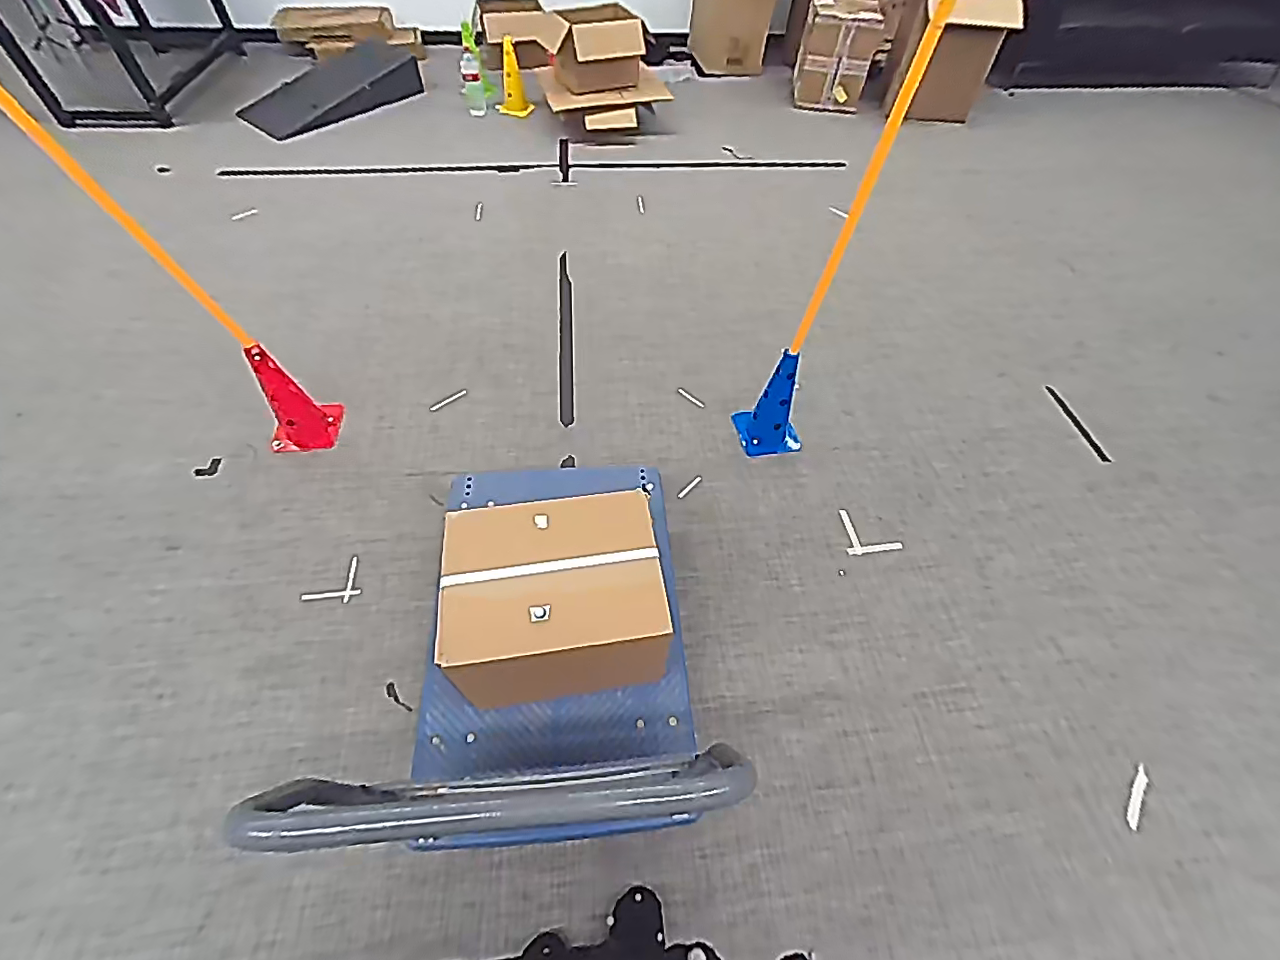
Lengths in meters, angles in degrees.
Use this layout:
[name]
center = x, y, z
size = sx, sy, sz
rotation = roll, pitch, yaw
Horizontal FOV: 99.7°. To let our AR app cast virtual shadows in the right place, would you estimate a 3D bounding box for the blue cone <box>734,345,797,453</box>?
[blue cone]
center = 0.442, -0.269, 1.744
size = 0.193, 0.380, 0.192
rotation = -7, 54, -8
